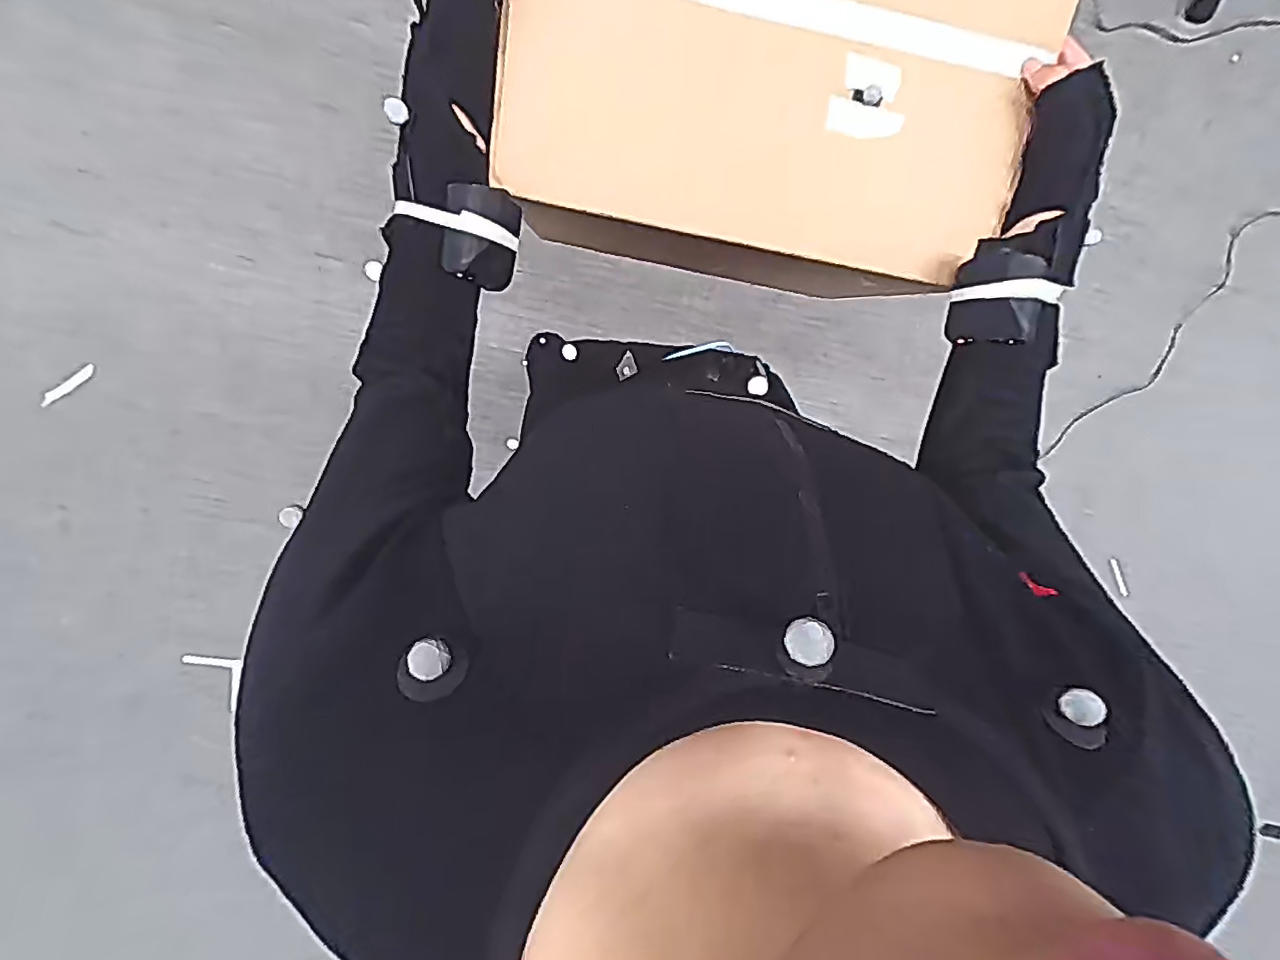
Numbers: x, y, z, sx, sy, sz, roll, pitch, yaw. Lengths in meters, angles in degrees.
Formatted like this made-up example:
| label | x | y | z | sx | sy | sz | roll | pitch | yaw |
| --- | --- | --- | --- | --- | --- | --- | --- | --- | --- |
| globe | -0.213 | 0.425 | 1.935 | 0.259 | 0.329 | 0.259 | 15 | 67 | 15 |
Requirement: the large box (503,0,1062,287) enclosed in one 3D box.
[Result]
| label | x | y | z | sx | sy | sz | roll | pitch | yaw |
| --- | --- | --- | --- | --- | --- | --- | --- | --- | --- |
| large box | 0.099 | -0.389 | 0.536 | 0.408 | 0.320 | 0.320 | 8 | 108 | -7 |
